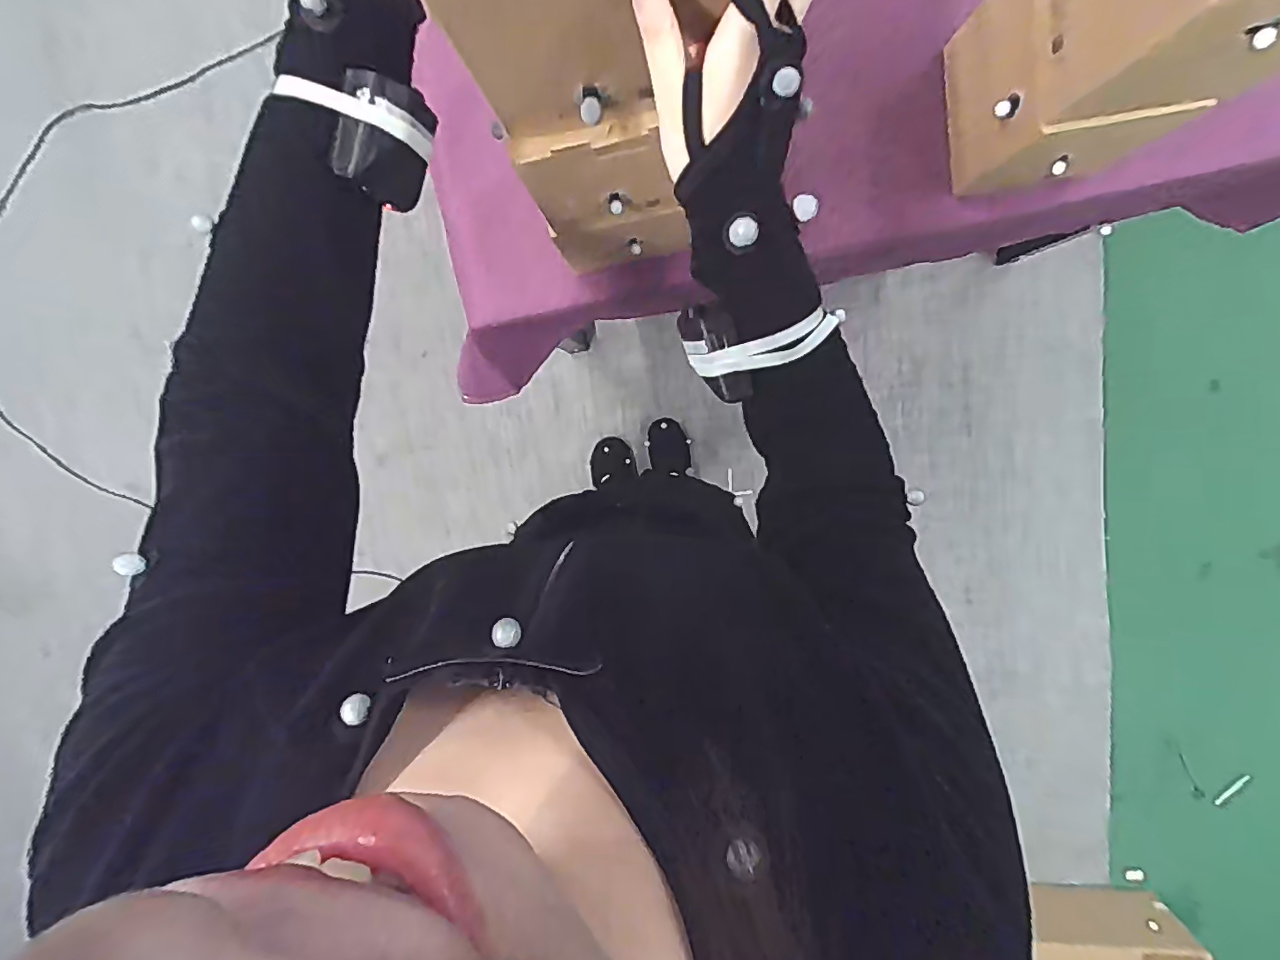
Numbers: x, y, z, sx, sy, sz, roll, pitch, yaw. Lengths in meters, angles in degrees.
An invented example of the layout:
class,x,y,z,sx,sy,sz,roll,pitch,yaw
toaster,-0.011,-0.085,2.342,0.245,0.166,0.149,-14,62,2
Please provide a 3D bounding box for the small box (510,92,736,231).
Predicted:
class,x,y,z,sx,sy,sz,roll,pitch,yaw
small box,-0.023,-0.341,0.463,0.168,0.176,0.179,-10,99,3

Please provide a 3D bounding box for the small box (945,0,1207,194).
class,x,y,z,sx,sy,sz,roll,pitch,yaw
small box,0.465,-0.439,0.600,0.168,0.176,0.179,-8,98,2

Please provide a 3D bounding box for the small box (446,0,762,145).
class,x,y,z,sx,sy,sz,roll,pitch,yaw
small box,-0.028,-0.327,0.301,0.168,0.176,0.179,-10,99,4

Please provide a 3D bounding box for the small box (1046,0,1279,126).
class,x,y,z,sx,sy,sz,roll,pitch,yaw
small box,0.468,-0.418,0.436,0.179,0.176,0.168,-7,99,2
